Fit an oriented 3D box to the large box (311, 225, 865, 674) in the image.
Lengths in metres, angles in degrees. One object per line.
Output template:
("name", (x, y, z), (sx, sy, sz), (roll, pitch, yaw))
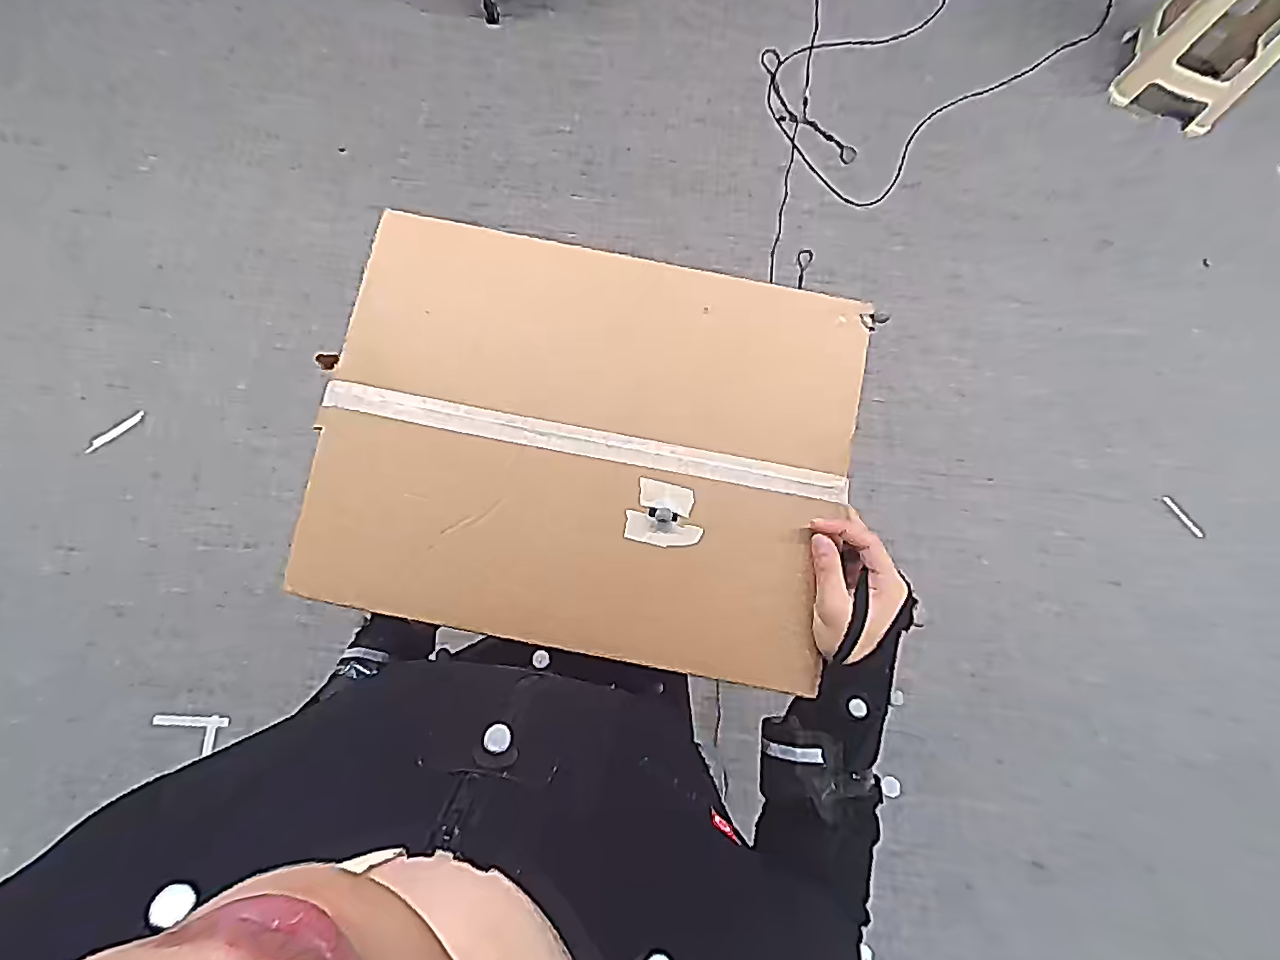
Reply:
("large box", (-0.038, -0.014, 0.576), (0.408, 0.320, 0.320), (10, 84, -1))
